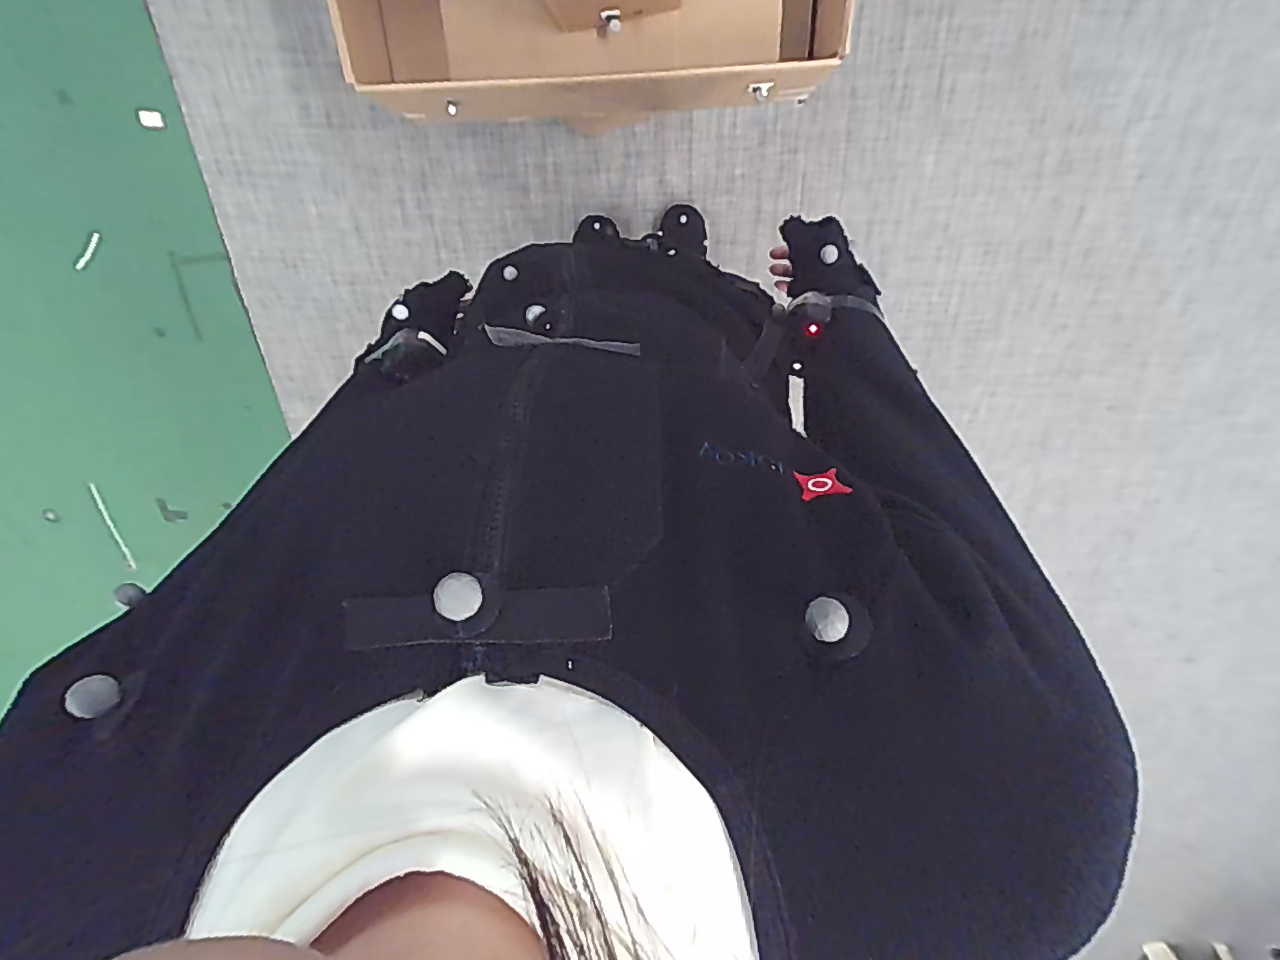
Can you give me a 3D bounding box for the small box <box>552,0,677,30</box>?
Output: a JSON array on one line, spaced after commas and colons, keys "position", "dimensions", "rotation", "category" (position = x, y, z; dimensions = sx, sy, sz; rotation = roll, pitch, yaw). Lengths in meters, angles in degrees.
[{"position": [-0.044, -0.675, 0.635], "dimensions": [0.168, 0.176, 0.179], "rotation": [-6, 117, 7], "category": "small box"}]
